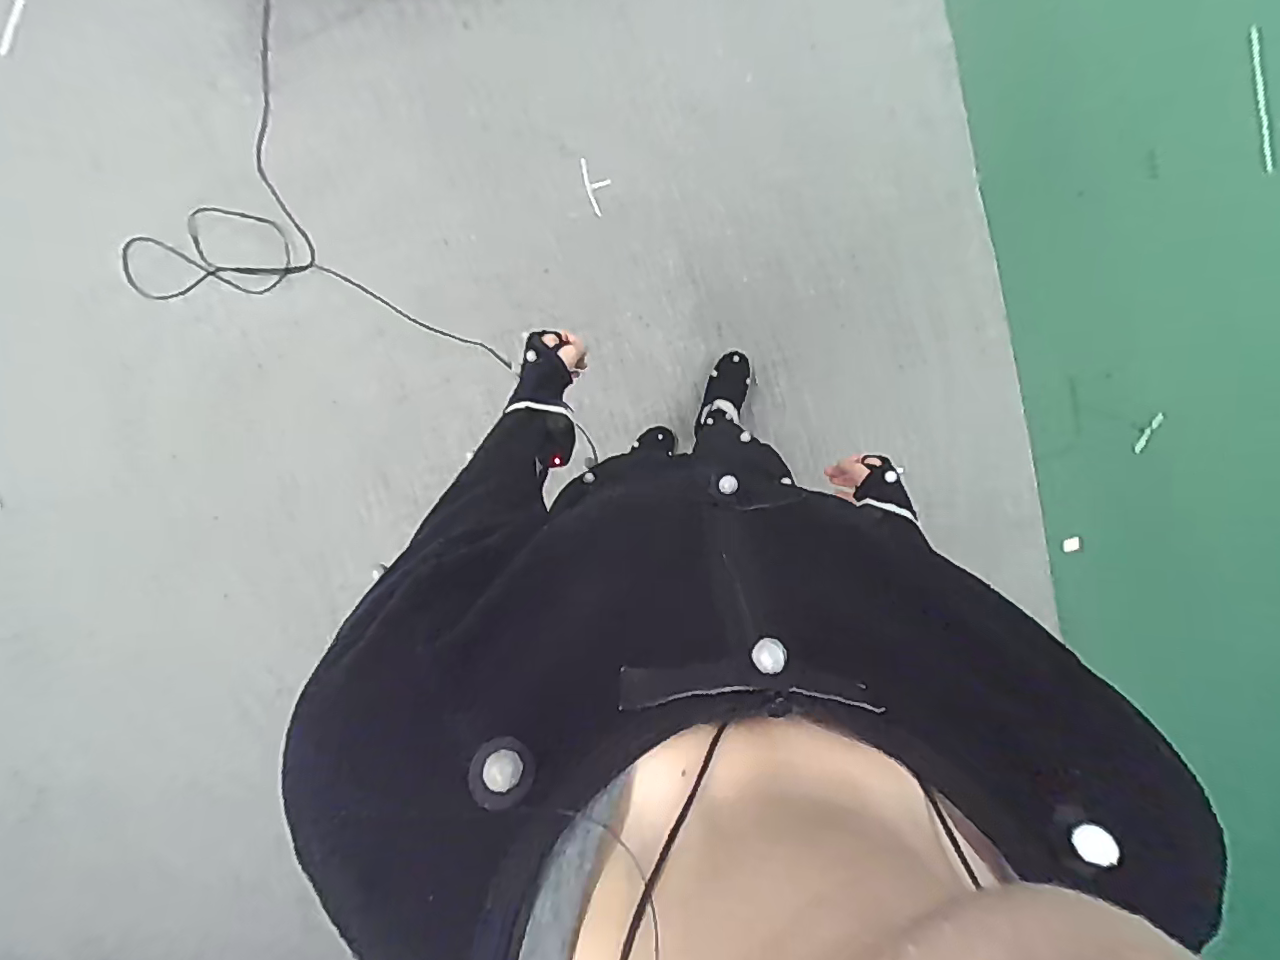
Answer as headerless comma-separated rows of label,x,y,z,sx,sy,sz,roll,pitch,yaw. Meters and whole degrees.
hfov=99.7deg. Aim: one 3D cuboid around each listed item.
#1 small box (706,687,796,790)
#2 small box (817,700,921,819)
small box,0.293,0.688,1.460,0.179,0.176,0.168,-17,96,-2
small box,0.543,0.663,1.299,0.168,0.176,0.179,-13,97,-1
